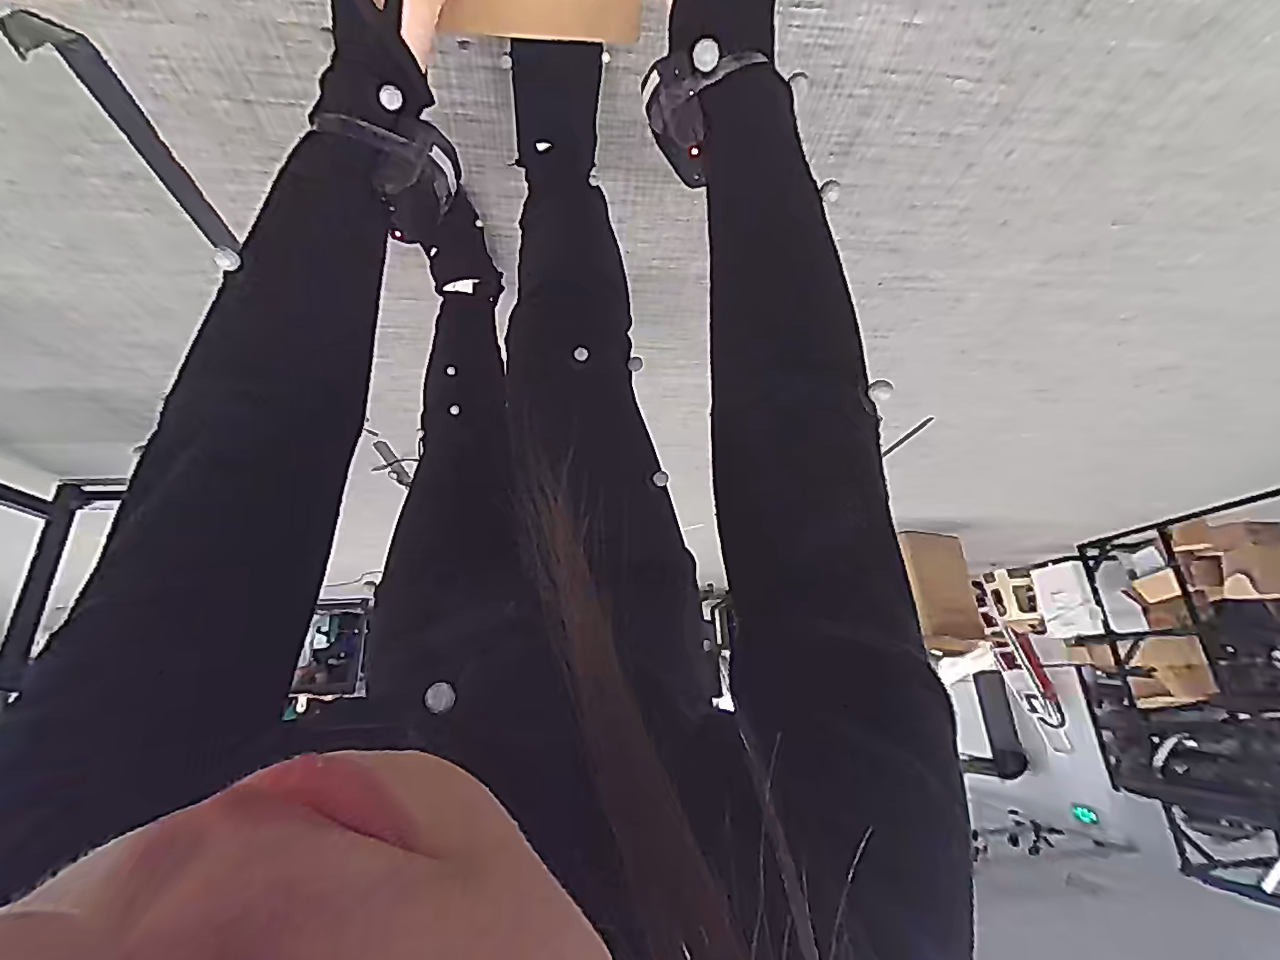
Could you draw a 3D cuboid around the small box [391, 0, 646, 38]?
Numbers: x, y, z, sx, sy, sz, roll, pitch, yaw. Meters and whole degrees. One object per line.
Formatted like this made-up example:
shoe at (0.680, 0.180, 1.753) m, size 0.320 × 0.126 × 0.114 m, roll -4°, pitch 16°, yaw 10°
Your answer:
small box at (-0.082, -0.429, 0.344) m, size 0.179 × 0.176 × 0.168 m, roll -1°, pitch 157°, yaw -6°
